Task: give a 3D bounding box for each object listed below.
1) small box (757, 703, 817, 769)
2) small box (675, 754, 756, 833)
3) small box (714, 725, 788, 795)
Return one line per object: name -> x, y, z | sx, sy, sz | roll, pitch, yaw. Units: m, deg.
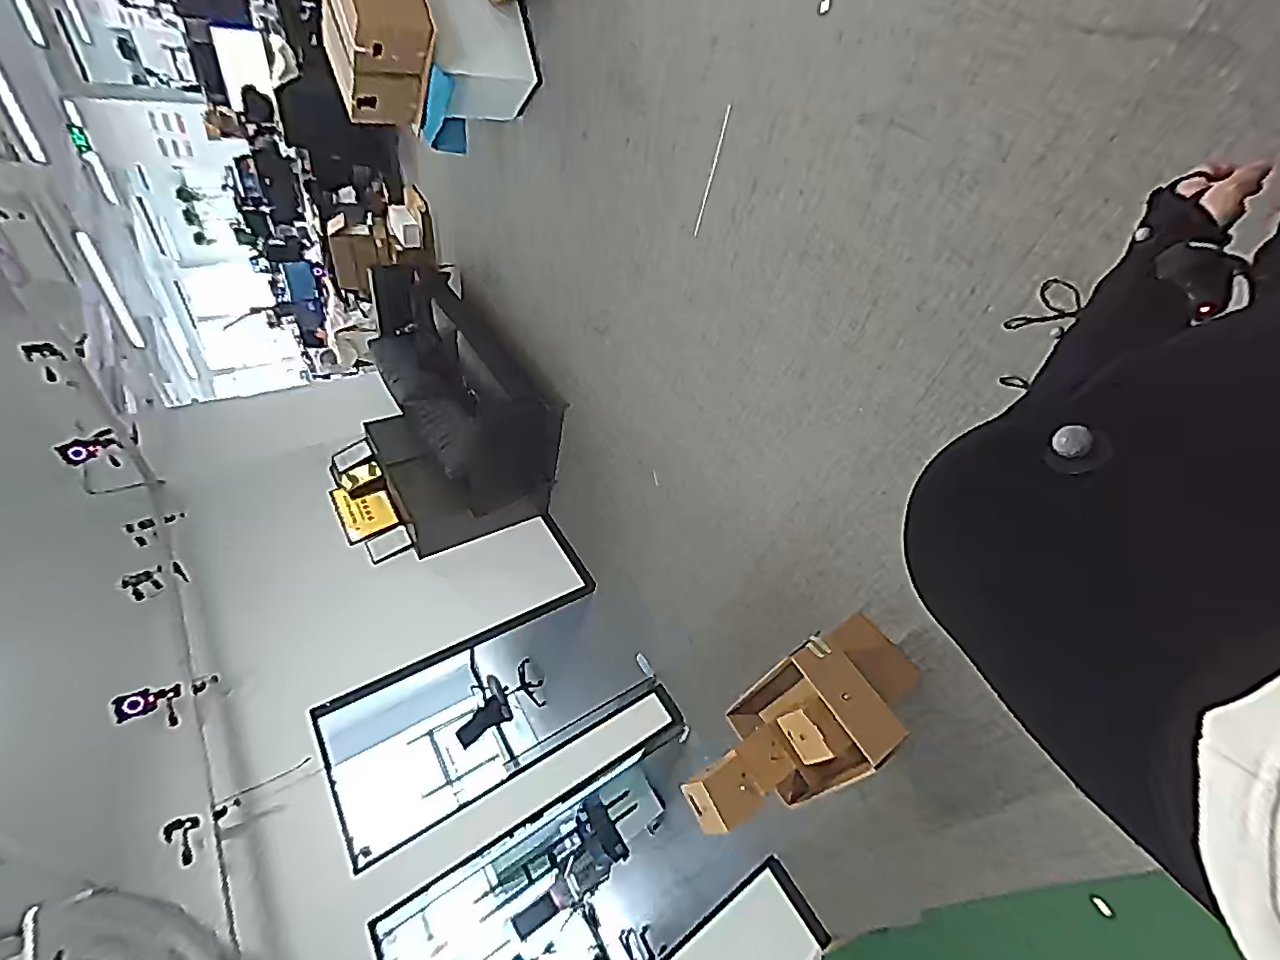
small box -> 0.512, 0.951, 1.974 | 0.168, 0.176, 0.179 | 52, 143, 27
small box -> 0.252, 1.043, 1.801 | 0.168, 0.176, 0.179 | 59, 145, 20
small box -> 0.383, 0.993, 1.887 | 0.168, 0.176, 0.179 | 53, 143, 28
